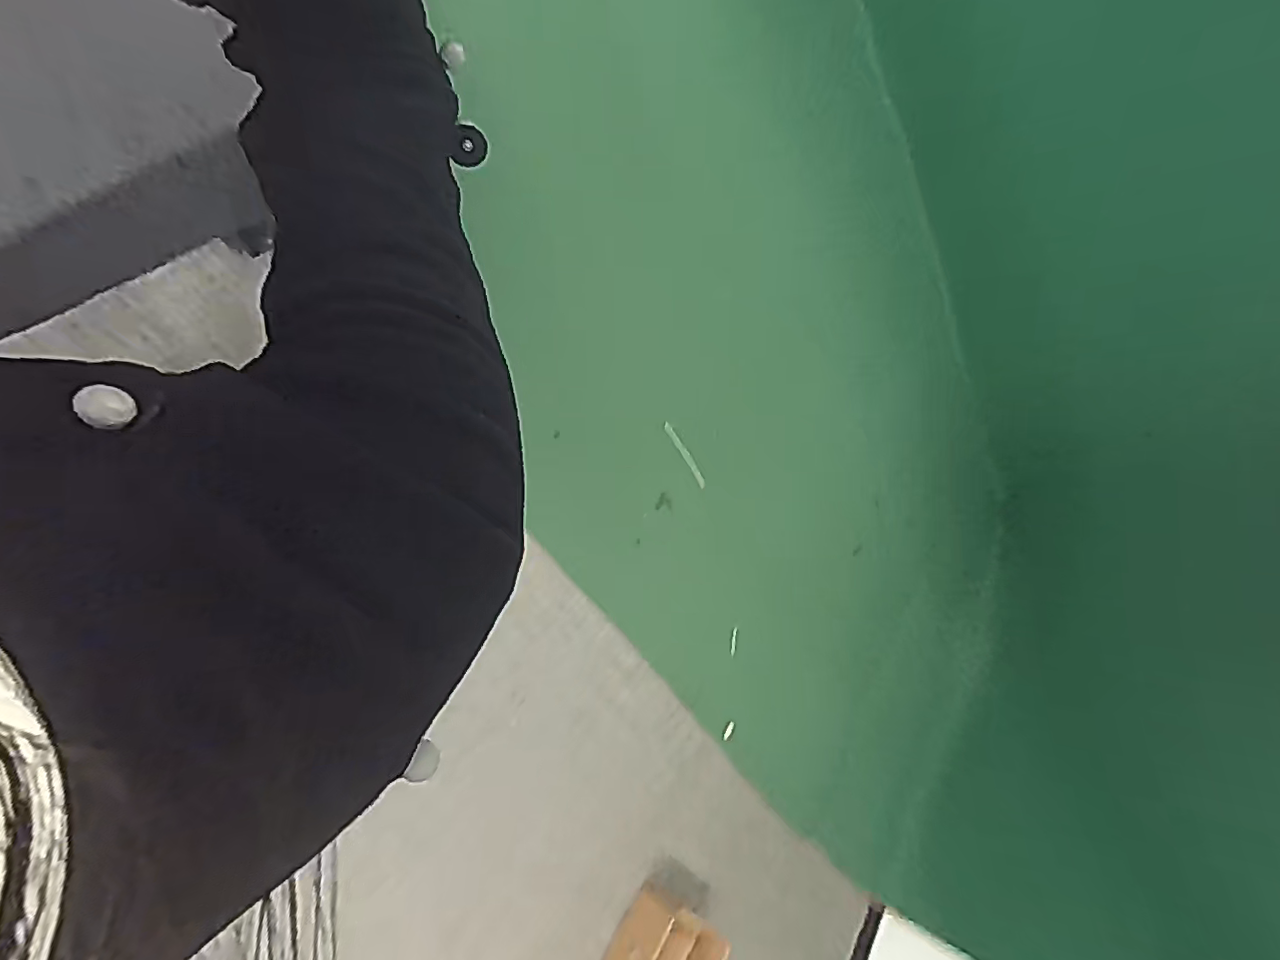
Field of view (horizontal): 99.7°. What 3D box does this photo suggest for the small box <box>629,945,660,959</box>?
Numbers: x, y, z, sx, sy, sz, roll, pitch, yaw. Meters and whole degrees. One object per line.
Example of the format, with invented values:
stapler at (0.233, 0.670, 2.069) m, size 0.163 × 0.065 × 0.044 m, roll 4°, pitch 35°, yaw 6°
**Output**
small box at (0.032, 1.754, 1.841) m, size 0.179 × 0.176 × 0.168 m, roll -53°, pitch 122°, yaw -27°
